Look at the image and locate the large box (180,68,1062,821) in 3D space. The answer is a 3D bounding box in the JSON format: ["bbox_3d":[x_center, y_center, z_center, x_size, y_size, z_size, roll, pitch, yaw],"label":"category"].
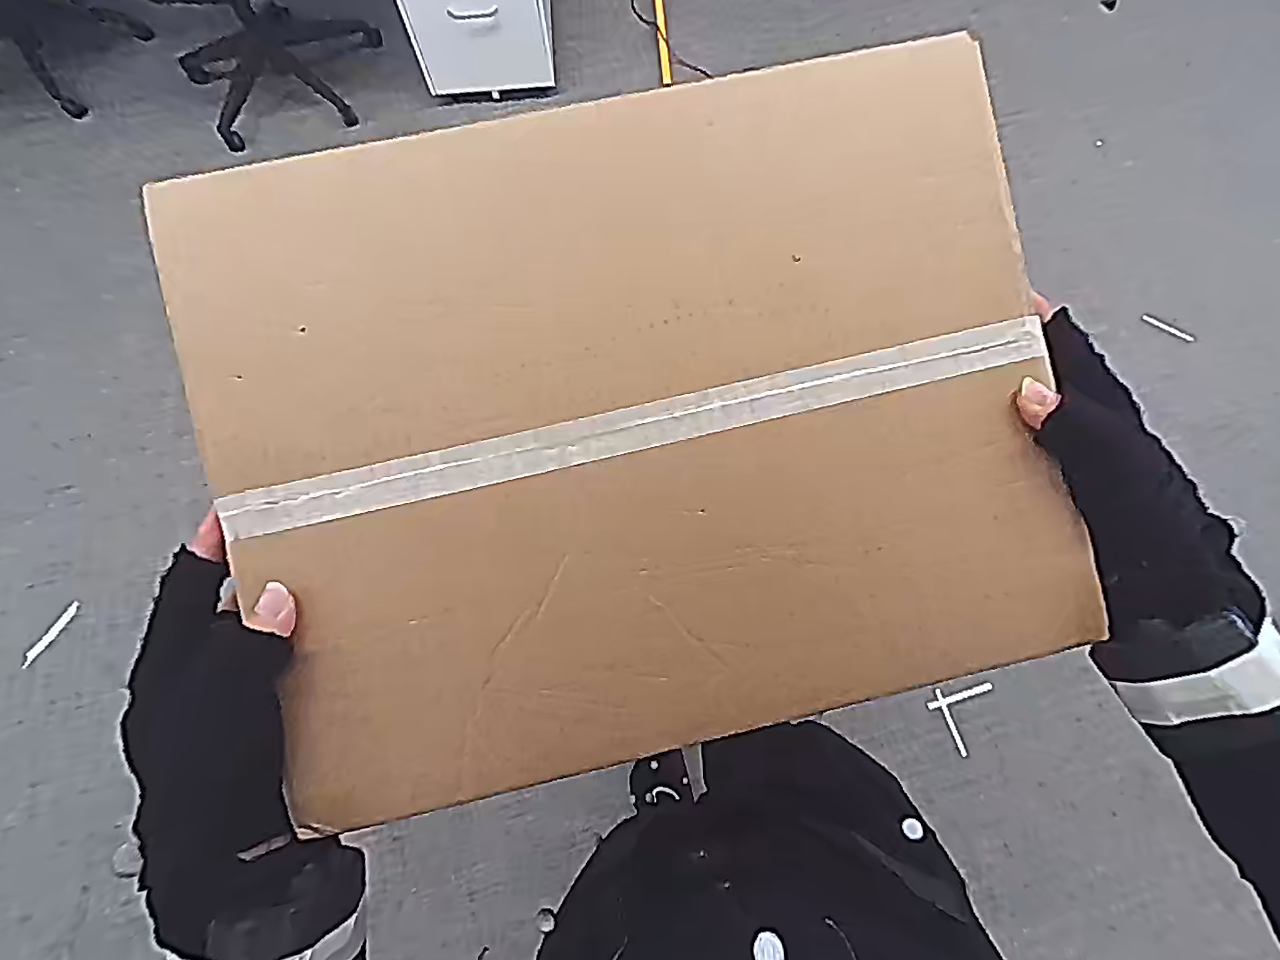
[{"bbox_3d":[-0.006,-0.025,0.423,0.408,0.320,0.320,-12,90,-3],"label":"large box"}]
